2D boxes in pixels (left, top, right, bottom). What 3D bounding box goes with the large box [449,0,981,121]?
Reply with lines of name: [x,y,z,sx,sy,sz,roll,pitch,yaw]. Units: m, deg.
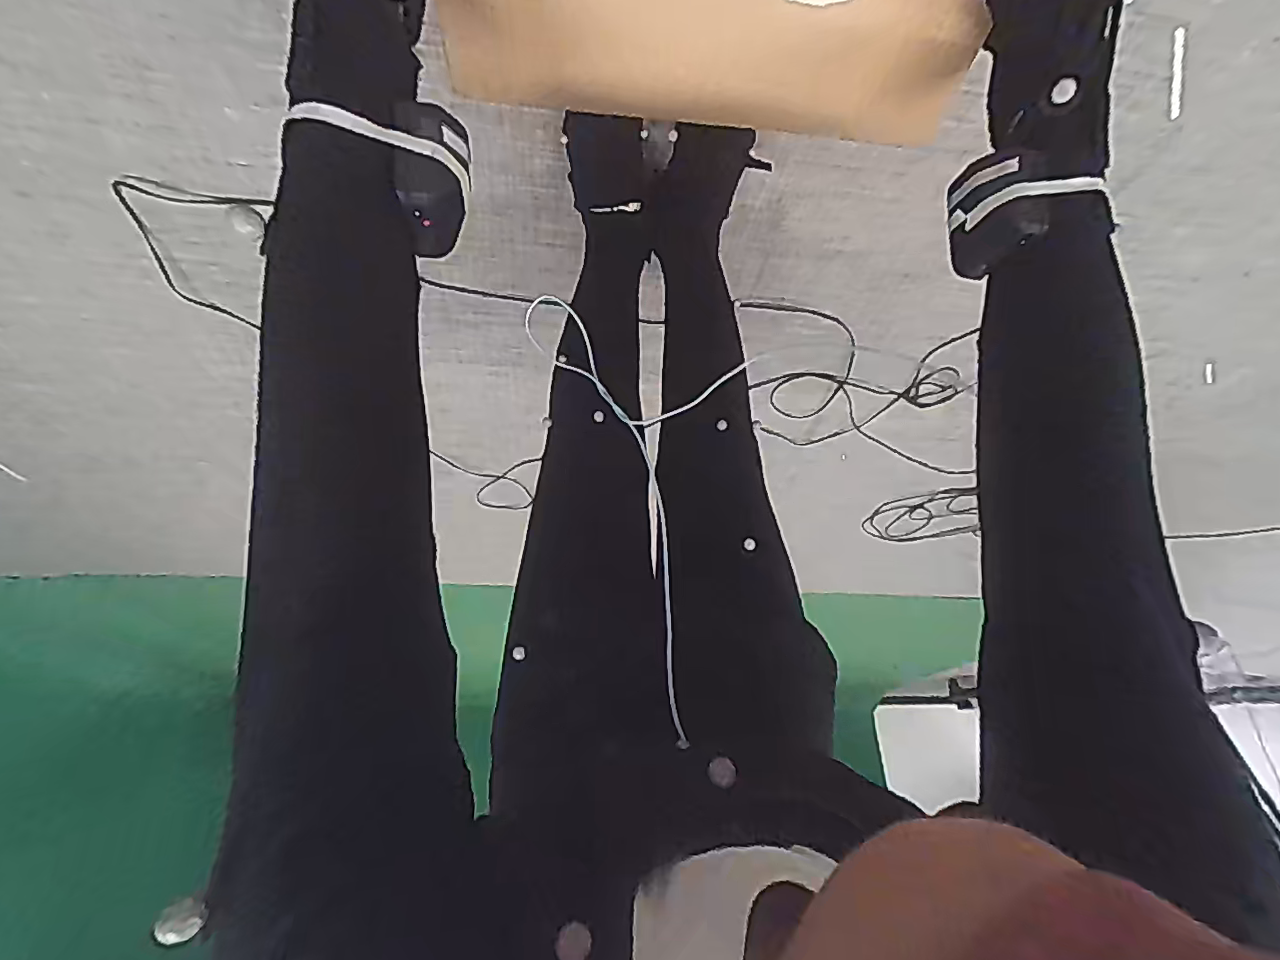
large box: [0.059,-0.526,0.408,0.408,0.320,0.320,1,149,-6]
